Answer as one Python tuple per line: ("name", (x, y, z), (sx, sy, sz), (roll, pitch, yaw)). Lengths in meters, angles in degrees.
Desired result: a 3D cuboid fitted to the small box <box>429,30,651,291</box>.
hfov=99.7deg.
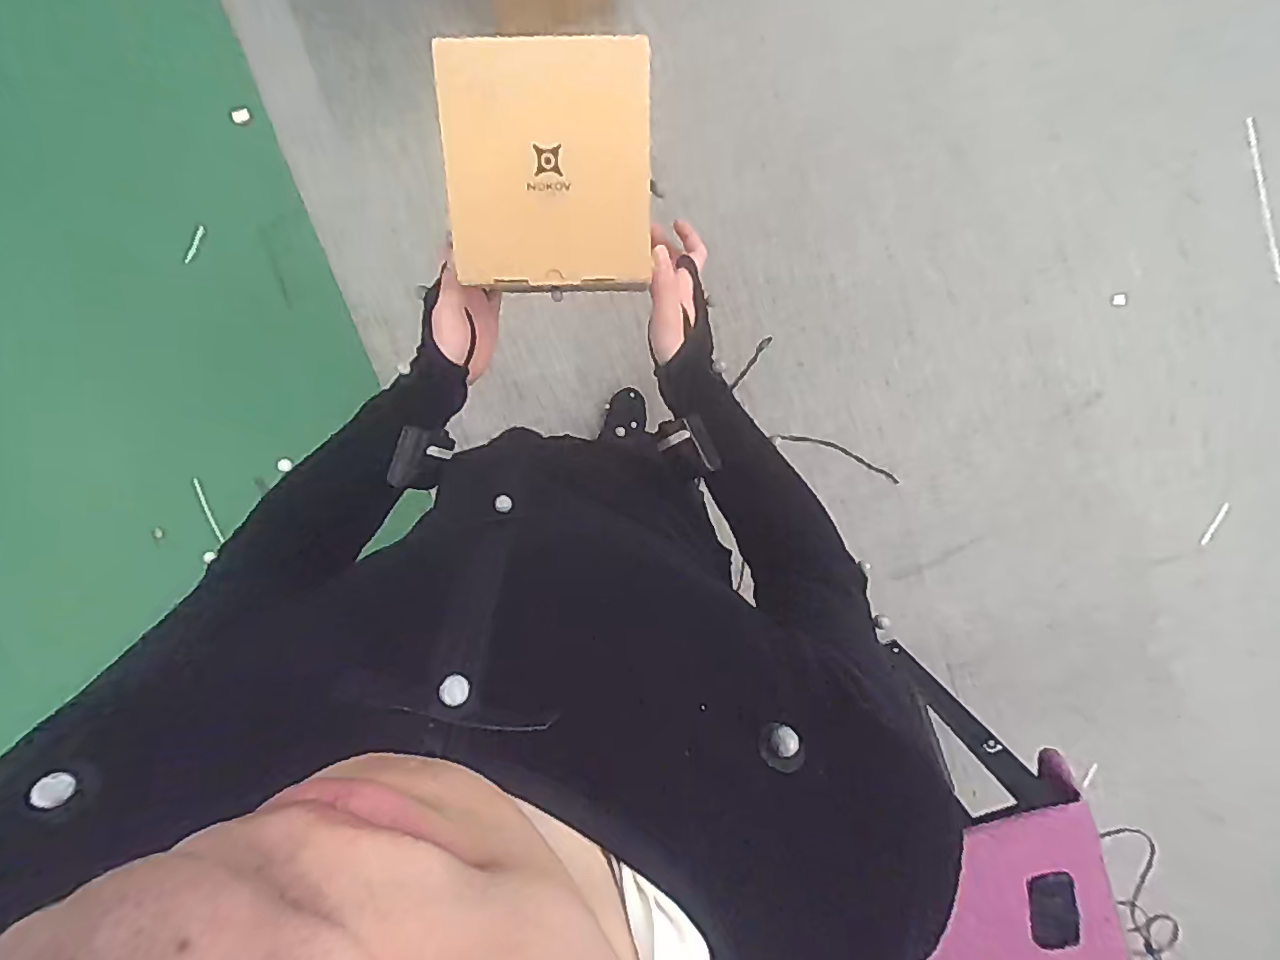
("small box", (-0.076, -0.271, 0.498), (0.168, 0.176, 0.179), (-1, 109, -1))
